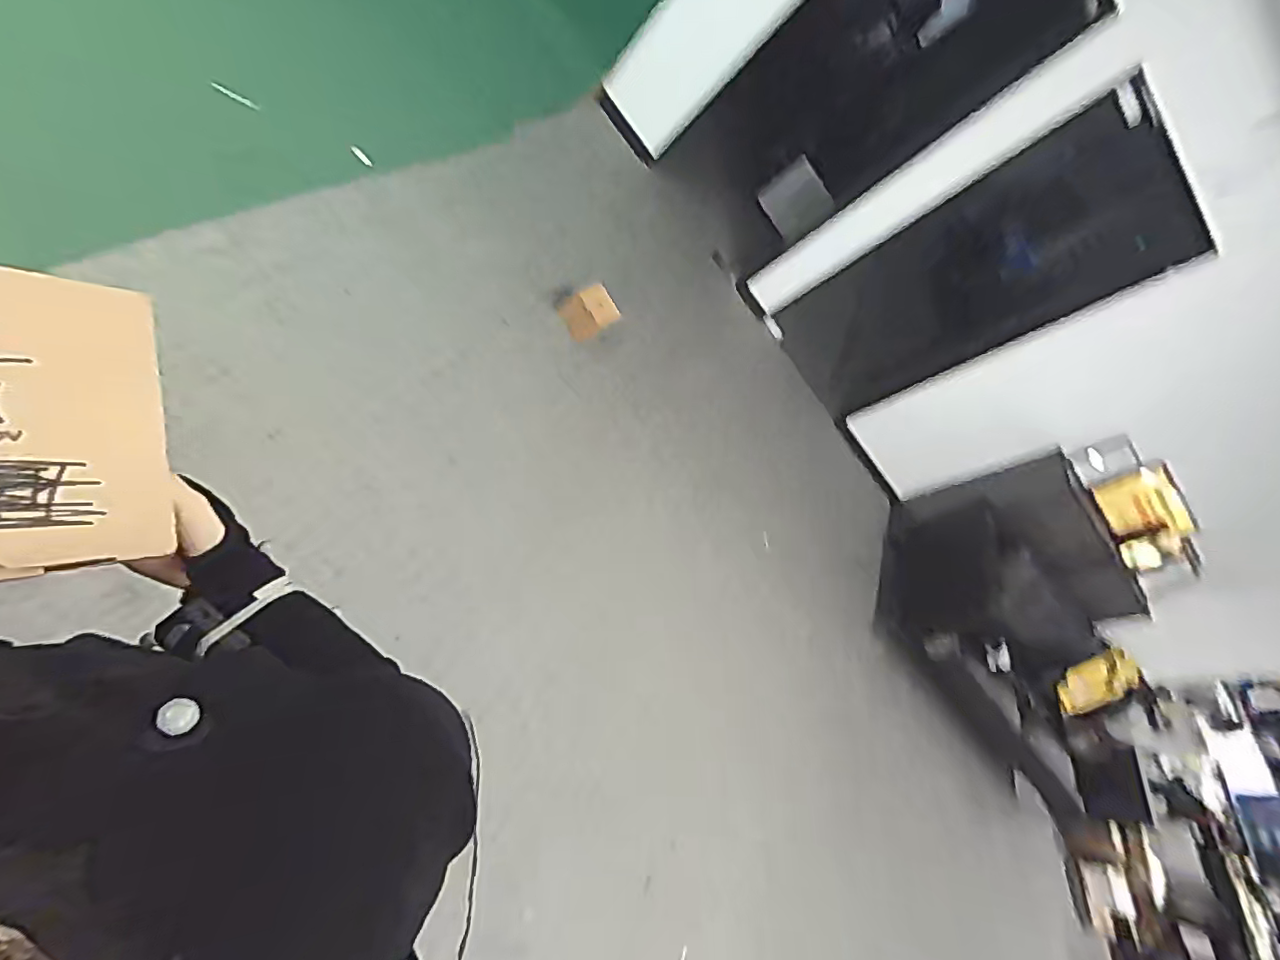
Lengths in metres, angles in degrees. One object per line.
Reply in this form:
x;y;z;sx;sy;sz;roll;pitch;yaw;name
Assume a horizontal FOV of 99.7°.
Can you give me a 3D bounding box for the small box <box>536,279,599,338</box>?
-0.316;-0.745;2.354;0.168;0.176;0.179;57;41;-9;small box
